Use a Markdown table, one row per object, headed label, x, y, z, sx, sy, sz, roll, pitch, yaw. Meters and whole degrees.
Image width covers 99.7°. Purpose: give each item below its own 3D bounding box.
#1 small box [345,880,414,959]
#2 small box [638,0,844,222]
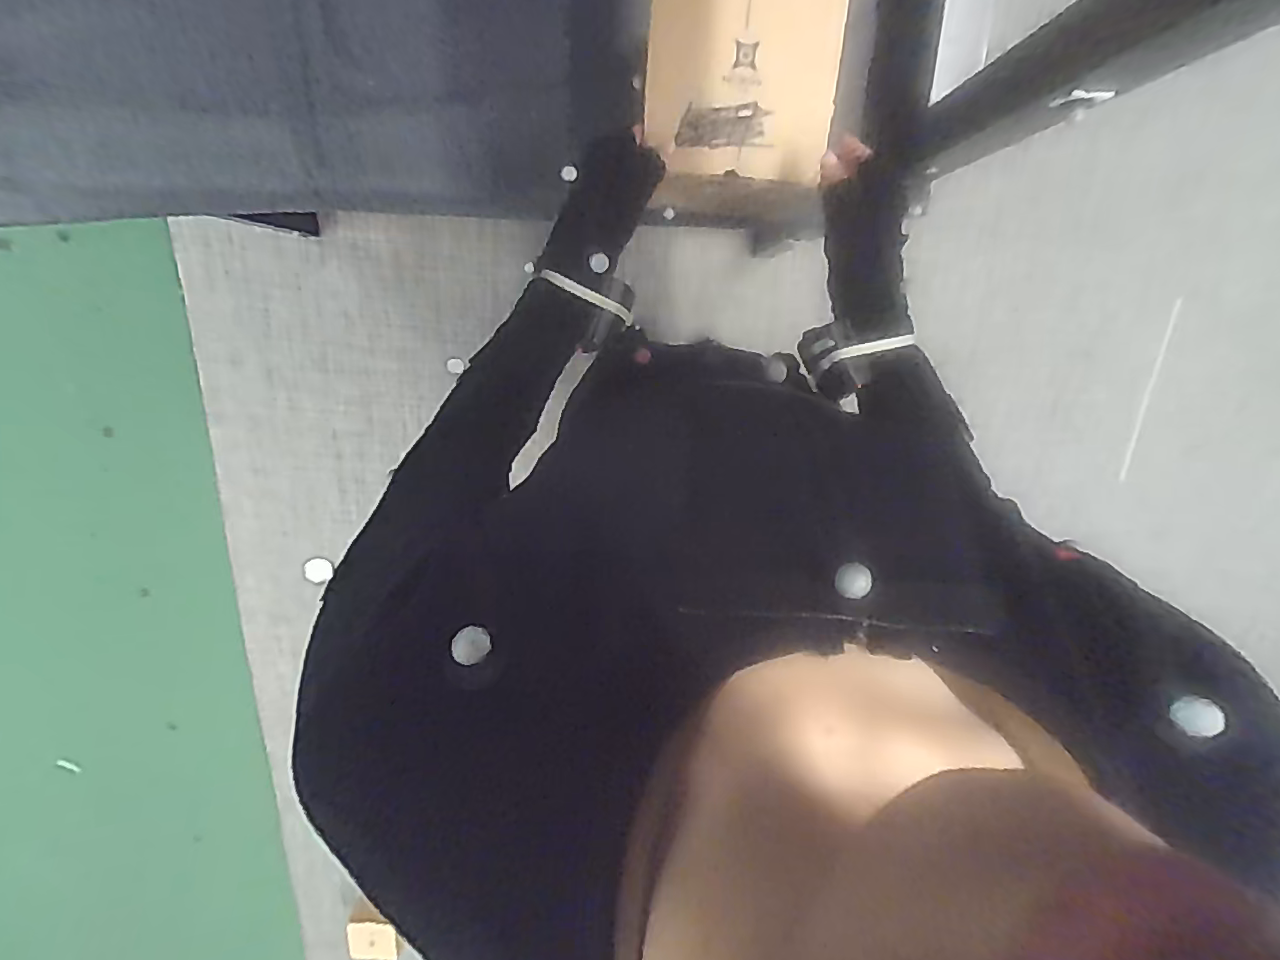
| label | x | y | z | sx | sy | sz | roll | pitch | yaw |
| --- | --- | --- | --- | --- | --- | --- | --- | --- | --- |
| small box | -0.912 | 1.564 | 1.905 | 0.168 | 0.176 | 0.179 | 5 | 106 | 0 |
| small box | 0.090 | -0.377 | 0.558 | 0.168 | 0.176 | 0.179 | 5 | 106 | 0 |
